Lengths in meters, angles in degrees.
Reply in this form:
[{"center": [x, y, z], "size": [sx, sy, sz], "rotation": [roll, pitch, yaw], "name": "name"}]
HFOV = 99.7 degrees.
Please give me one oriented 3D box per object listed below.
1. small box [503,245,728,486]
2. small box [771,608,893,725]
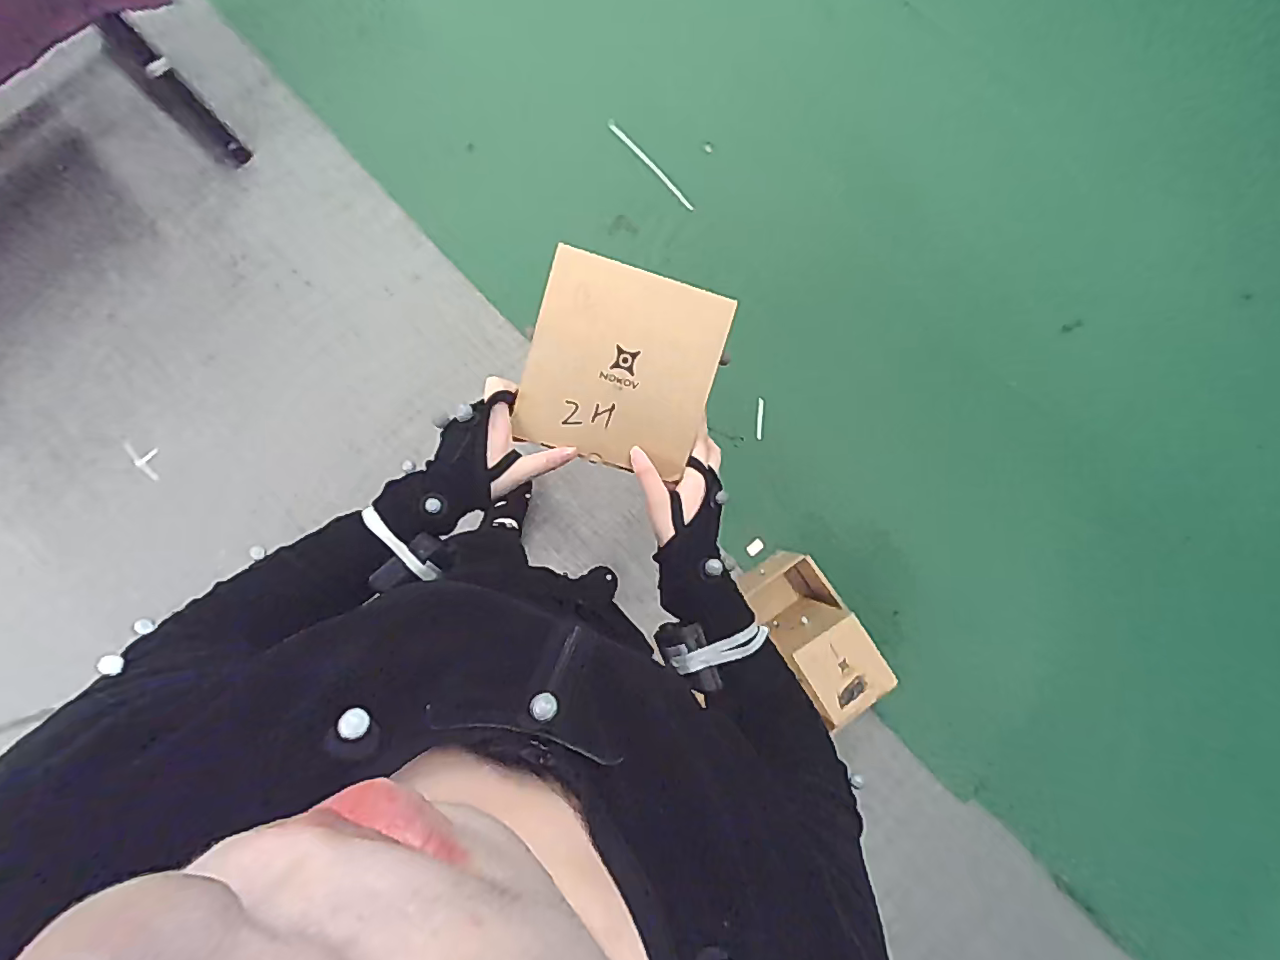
[{"center": [-0.027, -0.111, 0.561], "size": [0.168, 0.176, 0.179], "rotation": [16, 99, -5], "name": "small box"}, {"center": [0.427, 0.414, 1.232], "size": [0.168, 0.176, 0.179], "rotation": [-31, 85, -6], "name": "small box"}]
